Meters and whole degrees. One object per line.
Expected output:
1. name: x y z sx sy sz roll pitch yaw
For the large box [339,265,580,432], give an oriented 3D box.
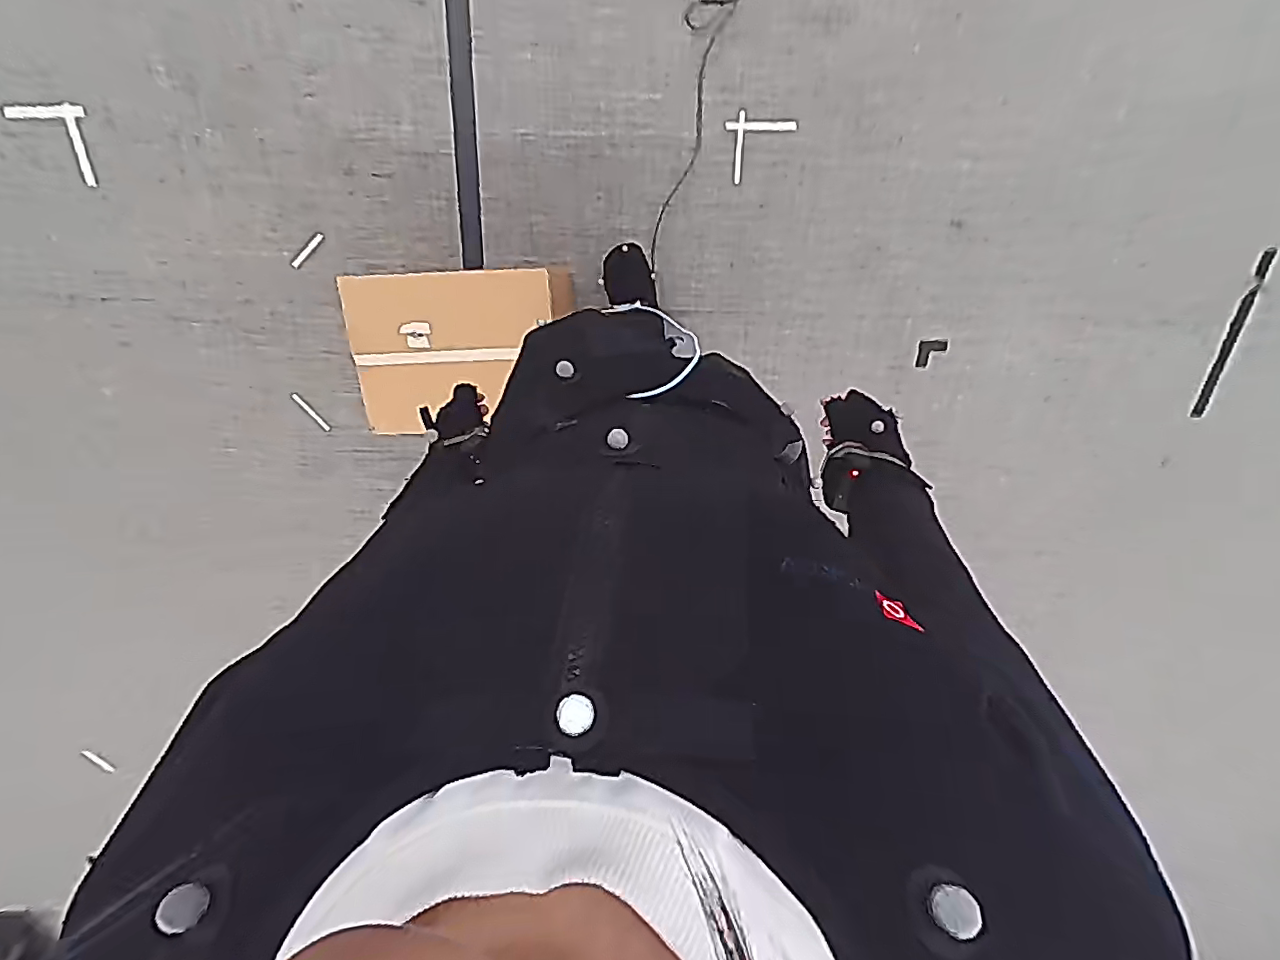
1. large box: -0.362 -0.302 1.204 0.408 0.320 0.320 -1 110 2
